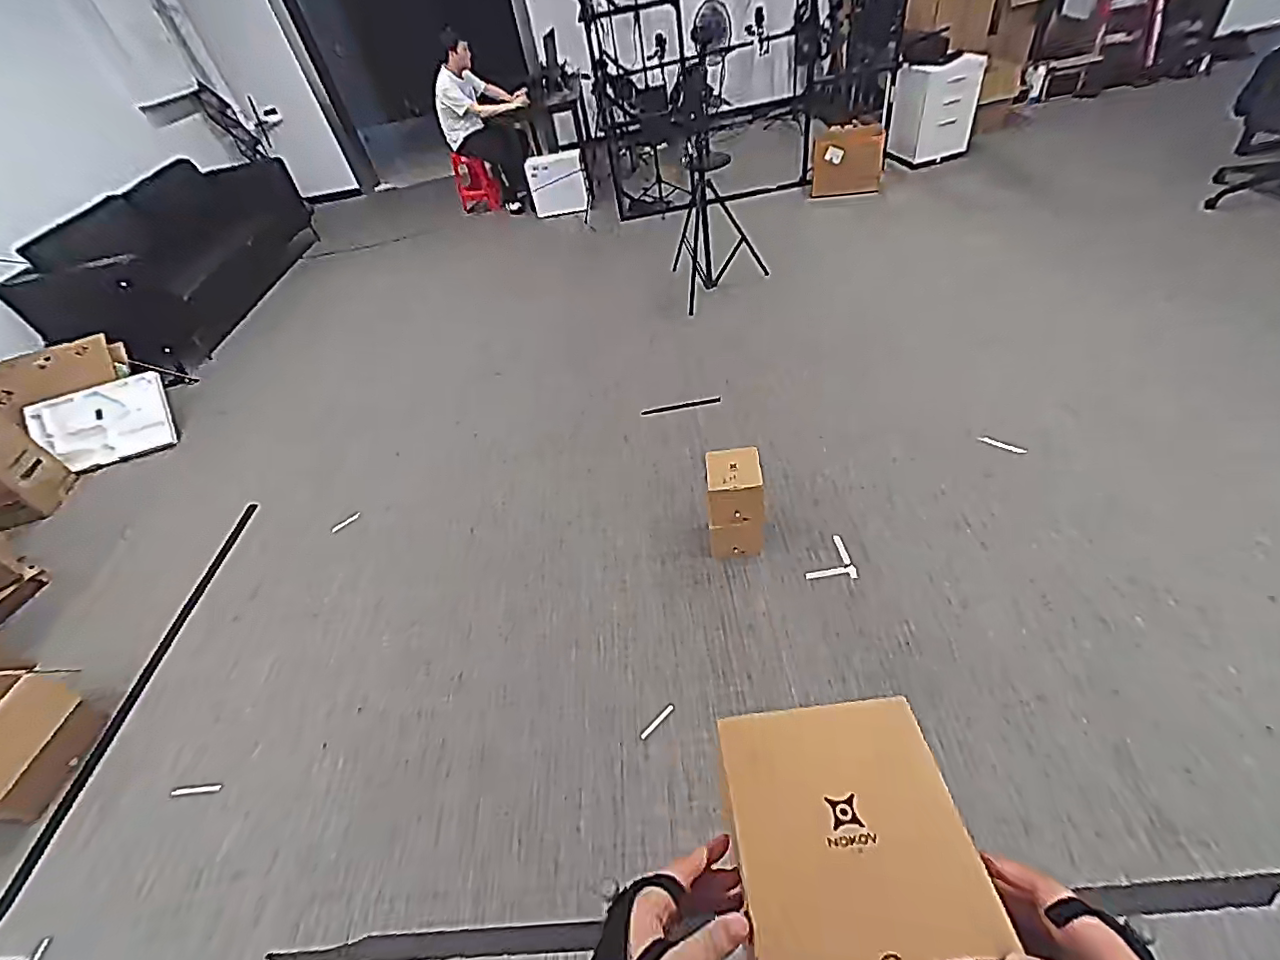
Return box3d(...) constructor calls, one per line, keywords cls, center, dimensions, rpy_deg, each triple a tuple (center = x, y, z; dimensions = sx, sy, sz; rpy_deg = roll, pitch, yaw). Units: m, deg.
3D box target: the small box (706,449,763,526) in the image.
box3d(cls="small box", center=(0.300, 0.025, 1.727), dimensions=(0.168, 0.176, 0.179), rpy_deg=(-6, 45, 9))
